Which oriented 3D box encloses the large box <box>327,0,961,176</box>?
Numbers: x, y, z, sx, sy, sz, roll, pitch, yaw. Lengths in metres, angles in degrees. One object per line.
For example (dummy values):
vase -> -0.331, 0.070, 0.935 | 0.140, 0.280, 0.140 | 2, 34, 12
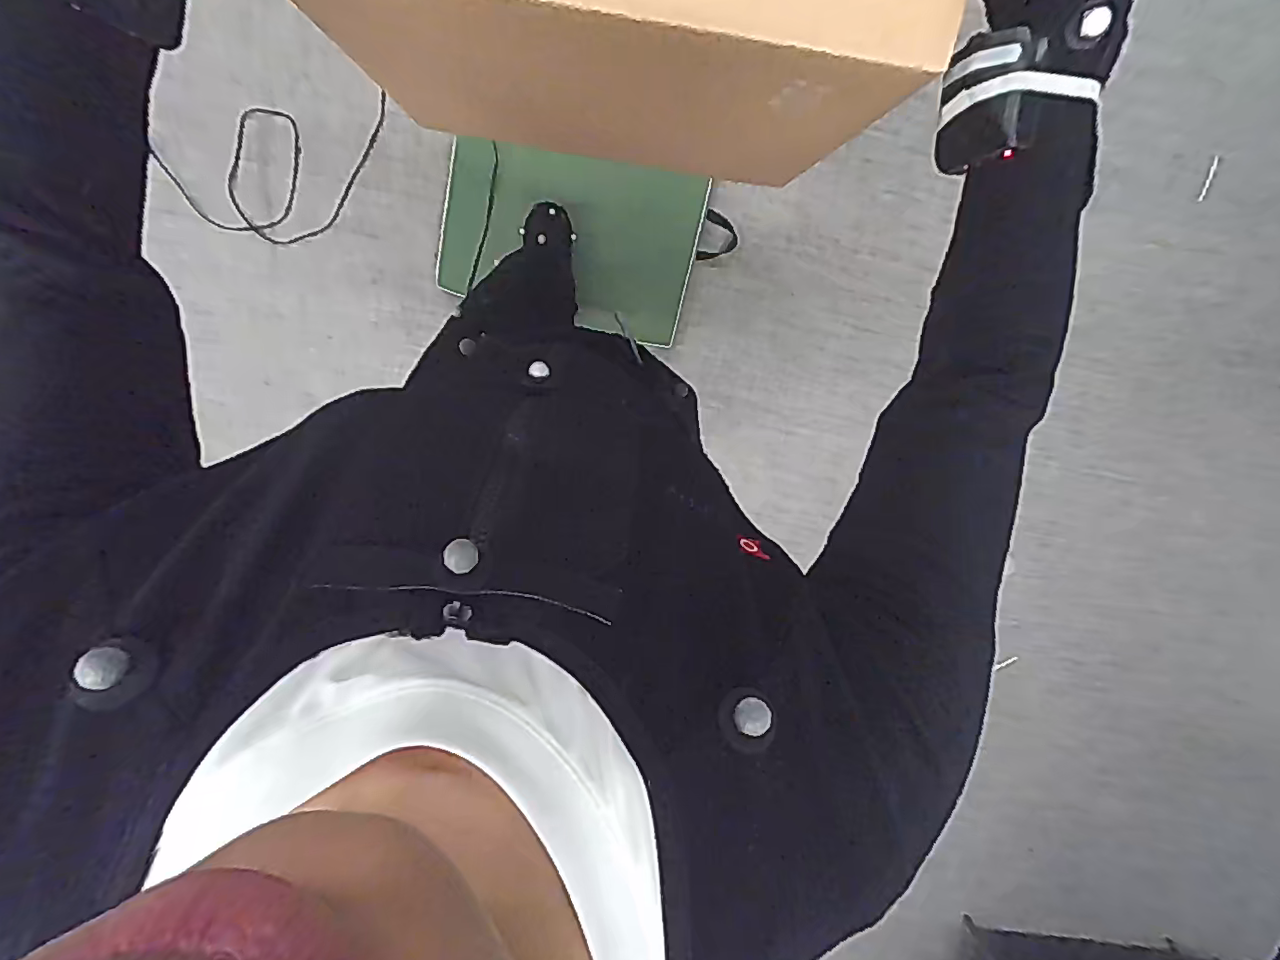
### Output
large box -> -0.003, -0.462, 0.413 | 0.408, 0.320, 0.320 | 5, 107, -7
